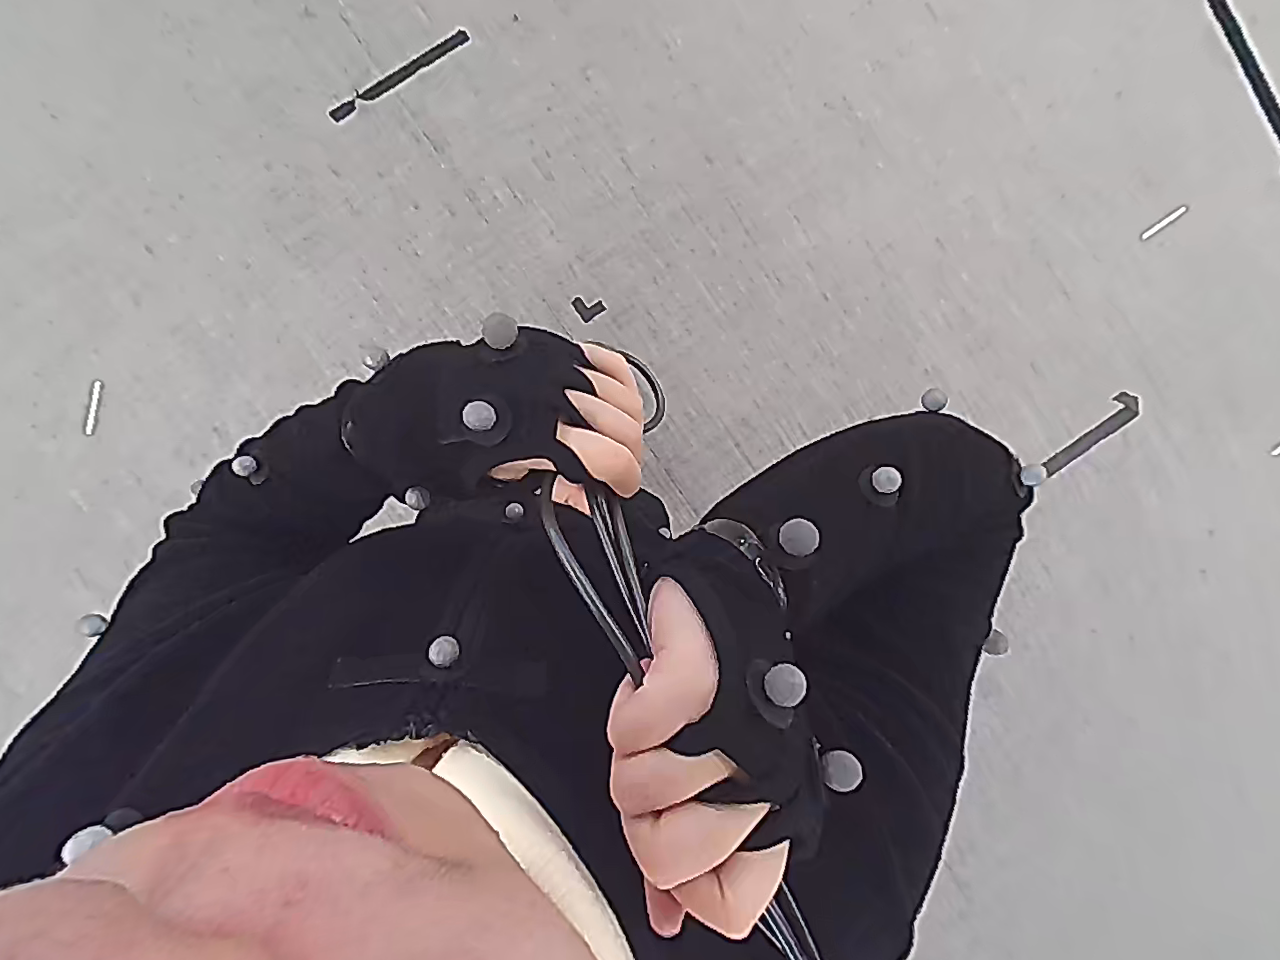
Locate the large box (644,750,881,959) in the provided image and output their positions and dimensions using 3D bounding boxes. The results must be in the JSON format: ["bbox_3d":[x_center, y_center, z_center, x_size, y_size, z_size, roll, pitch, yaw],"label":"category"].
[{"bbox_3d":[0.263,0.953,1.279,0.320,0.320,0.408,43,91,-7],"label":"large box"}]
